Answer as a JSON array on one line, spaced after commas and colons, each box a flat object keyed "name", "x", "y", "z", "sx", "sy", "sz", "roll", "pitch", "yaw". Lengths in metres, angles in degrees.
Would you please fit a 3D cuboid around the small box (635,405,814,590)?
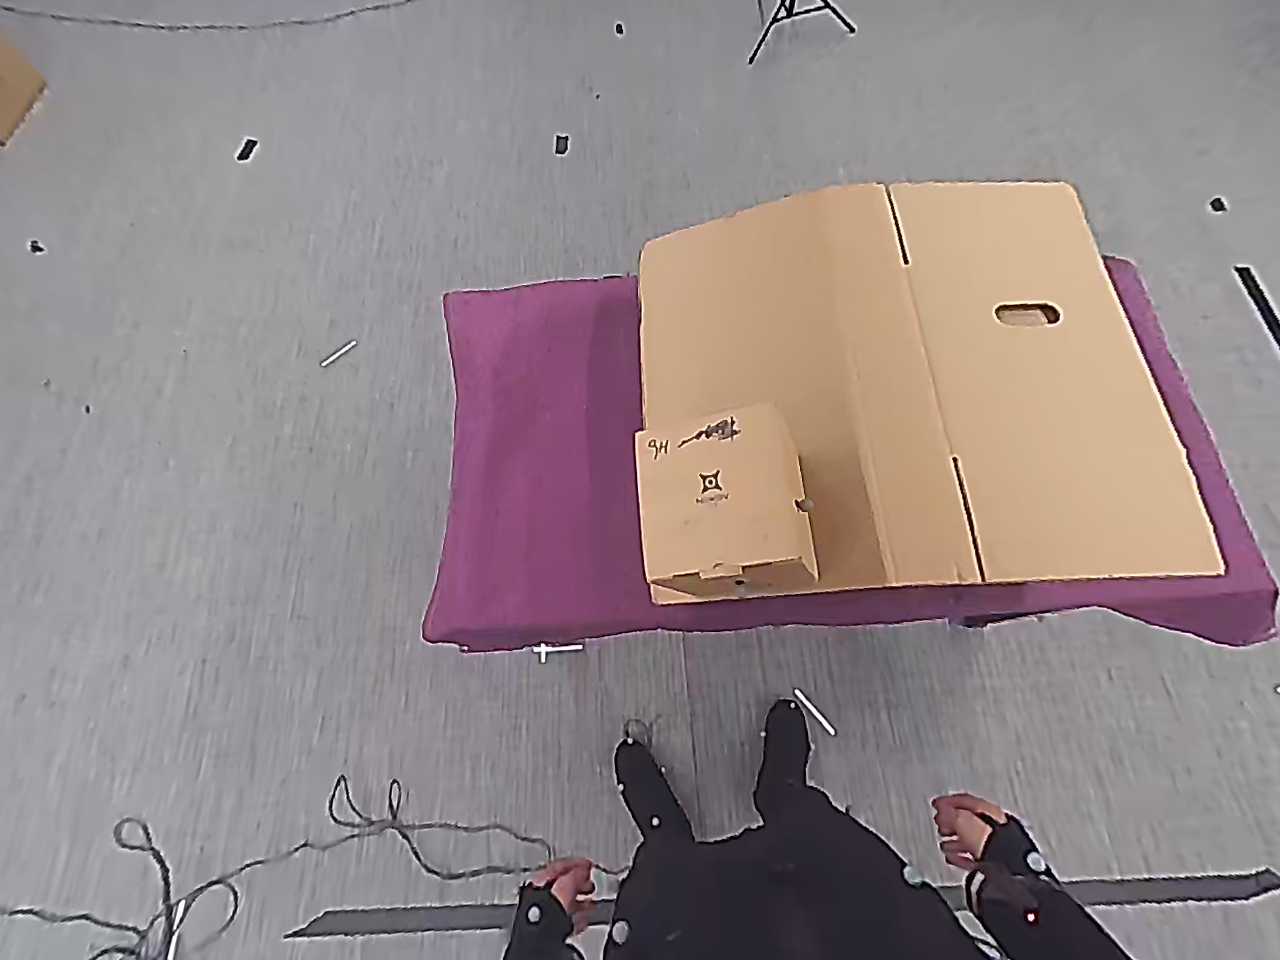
[{"name": "small box", "x": 0.106, "y": 0.036, "z": 0.649, "sx": 0.168, "sy": 0.176, "sz": 0.179, "roll": -11, "pitch": 70, "yaw": 20}]
